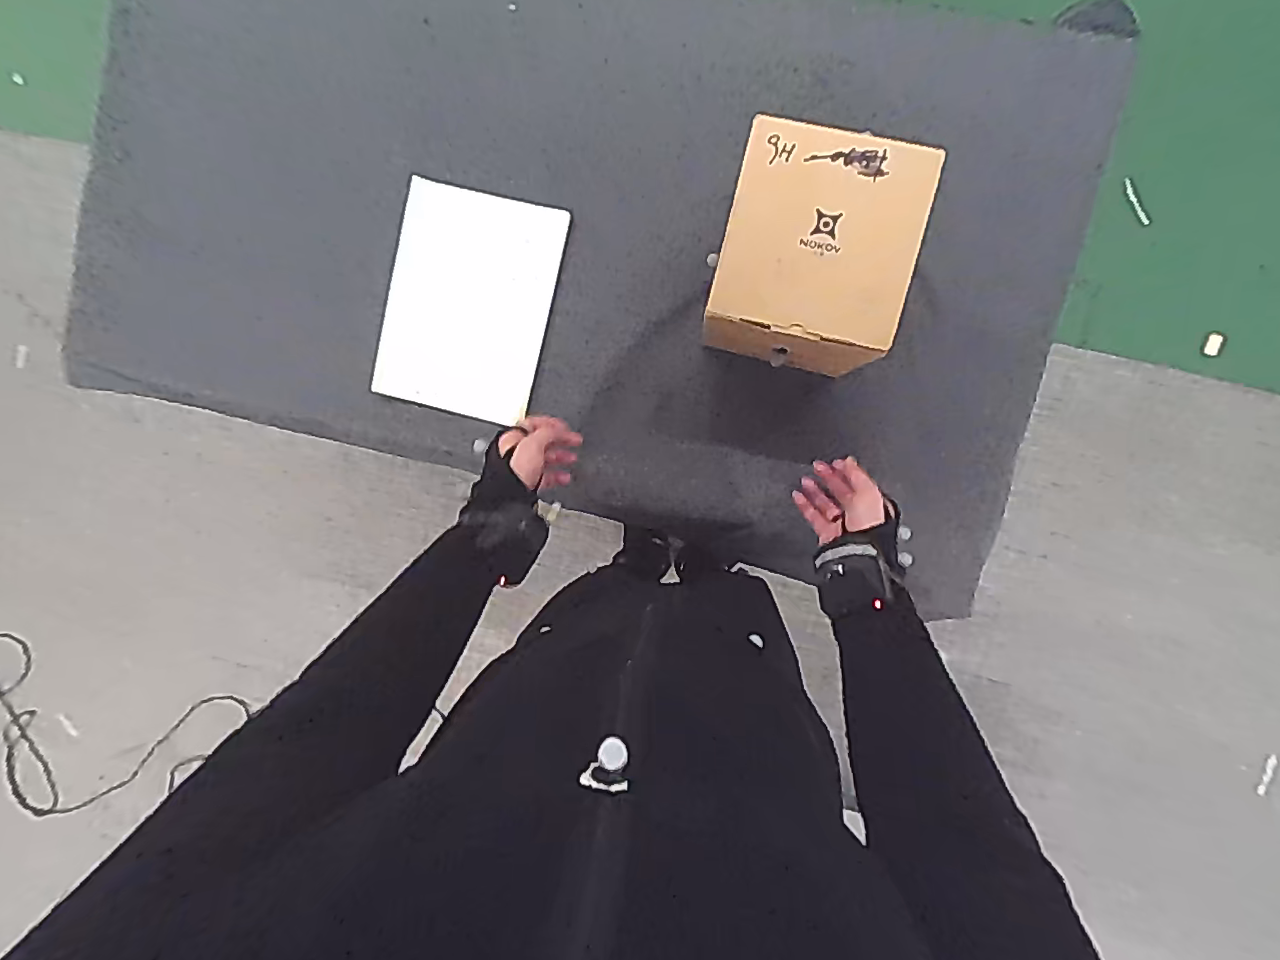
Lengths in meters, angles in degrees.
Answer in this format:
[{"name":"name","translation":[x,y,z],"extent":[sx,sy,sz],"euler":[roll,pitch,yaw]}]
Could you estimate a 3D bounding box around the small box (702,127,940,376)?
[{"name":"small box","translation":[0.165,-0.212,0.552],"extent":[0.168,0.176,0.179],"euler":[14,97,4]}]
